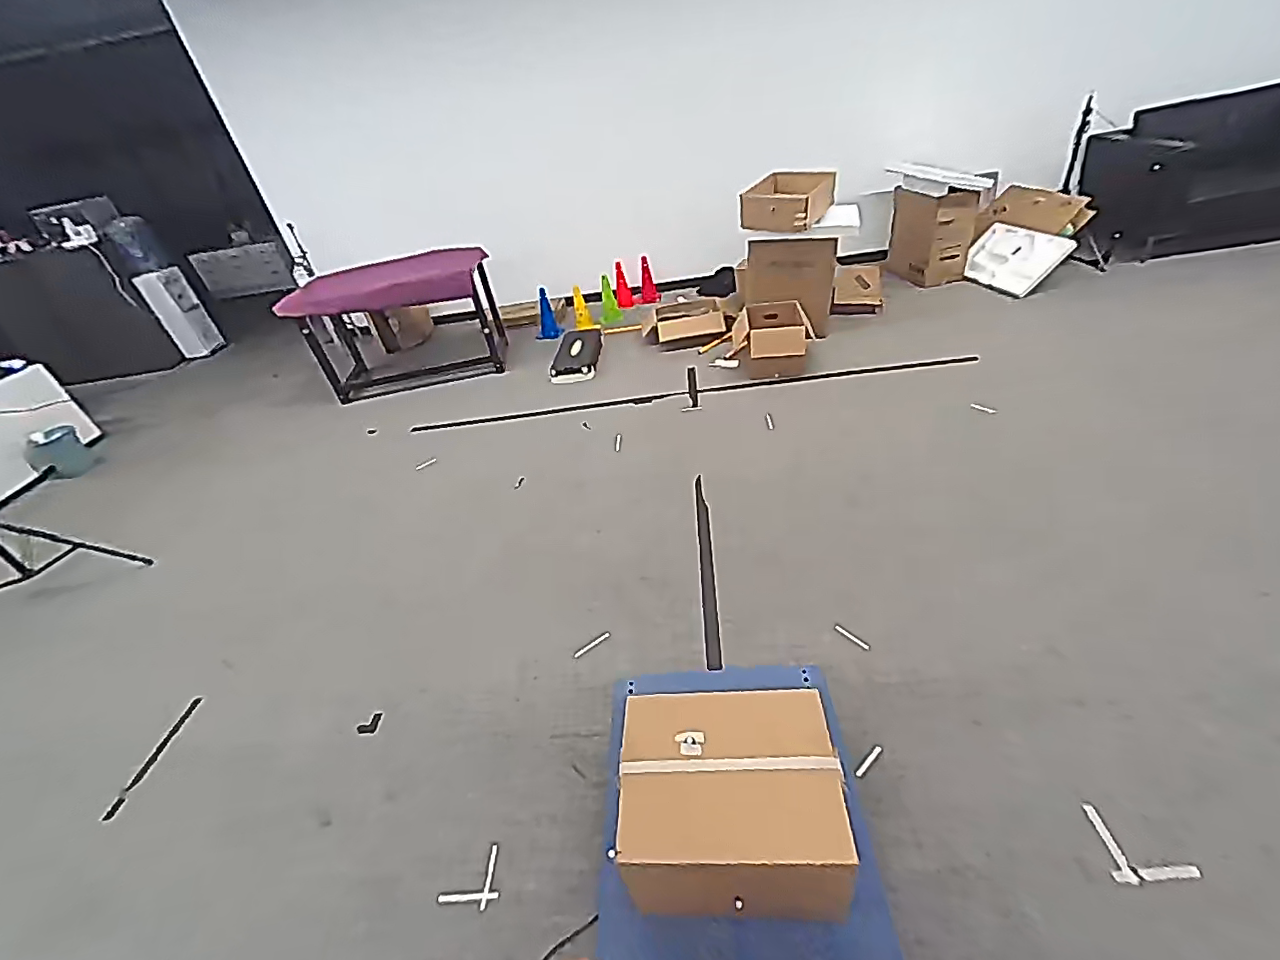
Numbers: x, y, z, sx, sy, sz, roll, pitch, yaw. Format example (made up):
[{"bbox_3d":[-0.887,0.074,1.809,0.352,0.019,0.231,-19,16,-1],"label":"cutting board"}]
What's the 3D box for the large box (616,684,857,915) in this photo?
[{"bbox_3d":[0.186,0.649,1.098,0.408,0.320,0.320,-7,36,8],"label":"large box"}]
